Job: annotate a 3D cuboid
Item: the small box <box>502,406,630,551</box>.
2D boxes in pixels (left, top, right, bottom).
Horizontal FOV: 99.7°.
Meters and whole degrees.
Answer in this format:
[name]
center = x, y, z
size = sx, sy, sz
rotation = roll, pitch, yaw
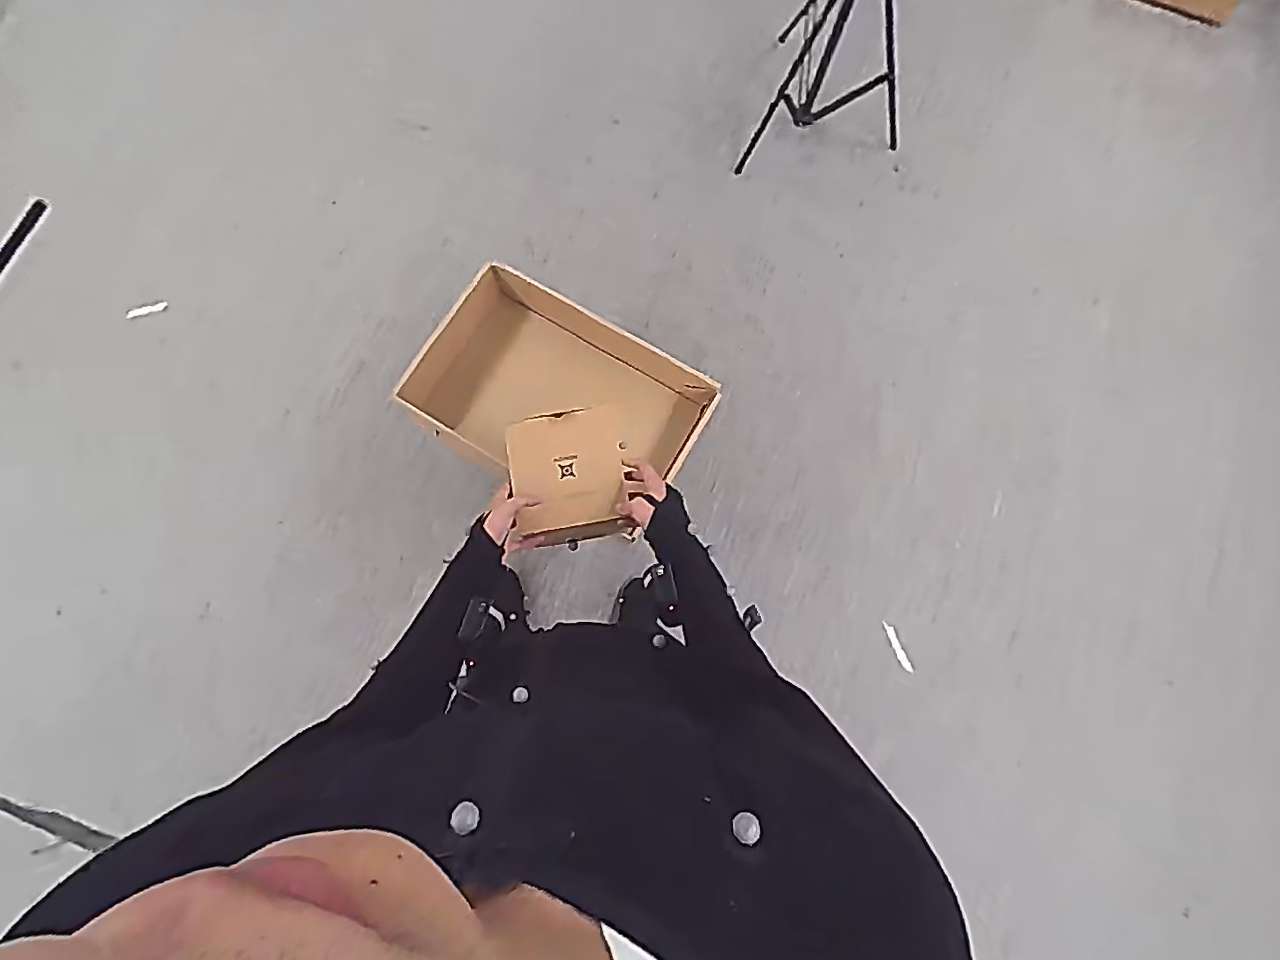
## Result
[small box]
center = -0.111, 0.005, 0.856
size = 0.168, 0.176, 0.179
rotation = -11, 76, -3
